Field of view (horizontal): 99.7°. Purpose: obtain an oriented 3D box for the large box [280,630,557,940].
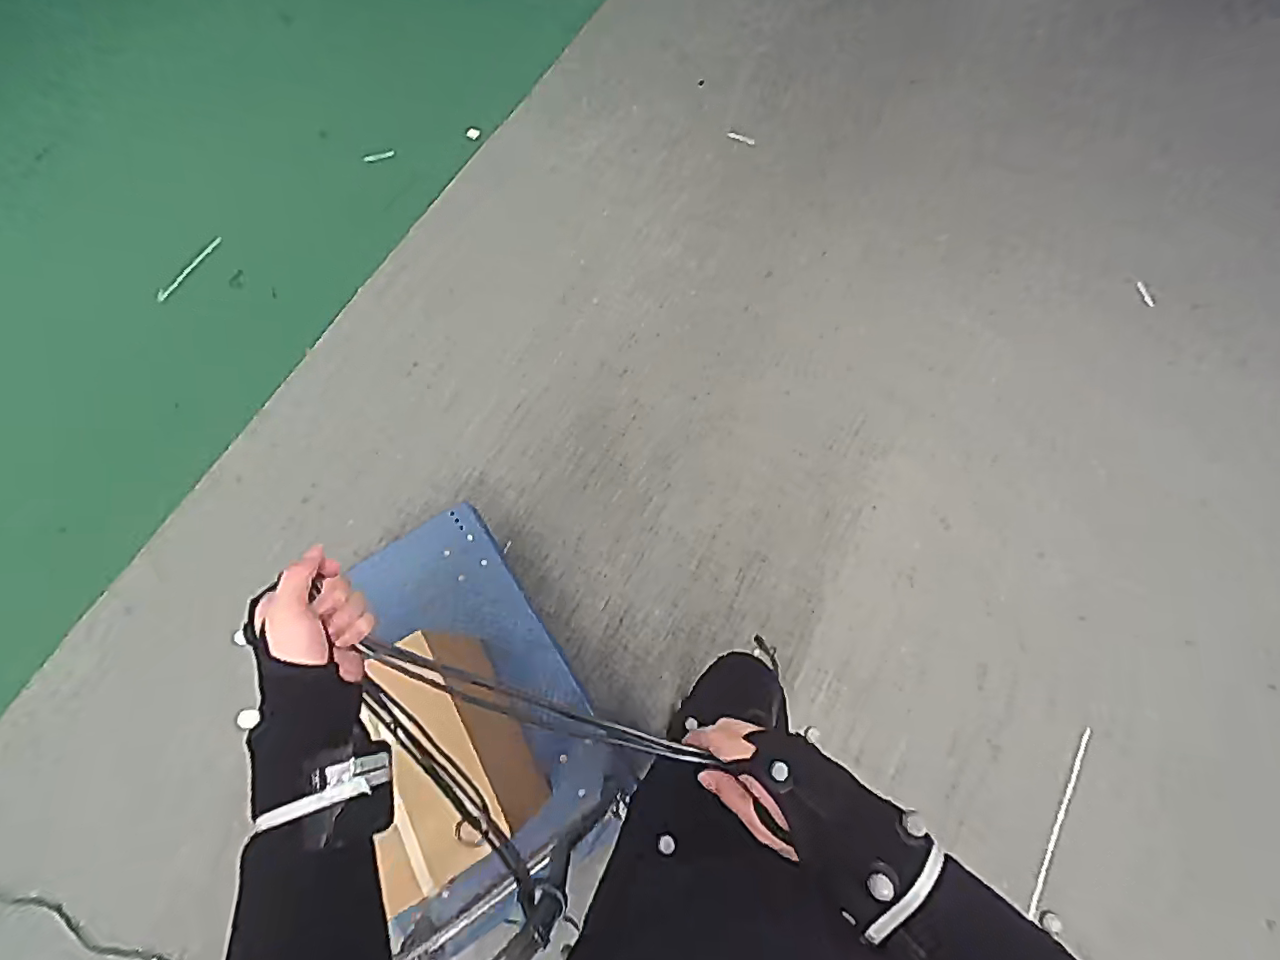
[{"bbox_3d":[-0.422,0.565,1.094,0.320,0.320,0.408,-32,71,-6],"label":"large box"}]
